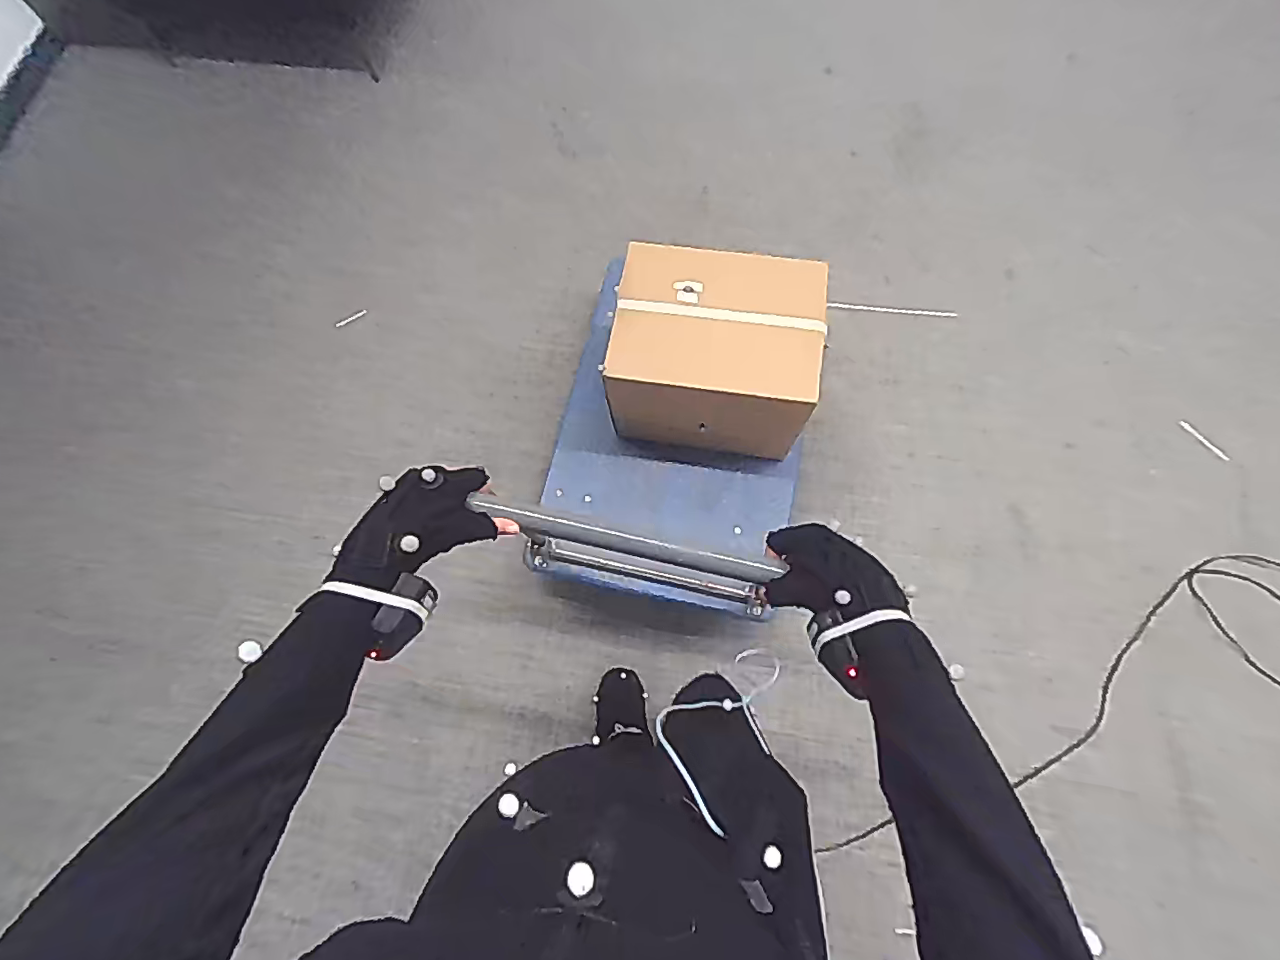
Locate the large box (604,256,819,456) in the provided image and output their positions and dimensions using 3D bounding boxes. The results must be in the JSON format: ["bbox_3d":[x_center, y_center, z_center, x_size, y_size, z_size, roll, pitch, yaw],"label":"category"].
[{"bbox_3d":[0.157,-0.259,1.204,0.408,0.320,0.320,7,73,6],"label":"large box"}]
